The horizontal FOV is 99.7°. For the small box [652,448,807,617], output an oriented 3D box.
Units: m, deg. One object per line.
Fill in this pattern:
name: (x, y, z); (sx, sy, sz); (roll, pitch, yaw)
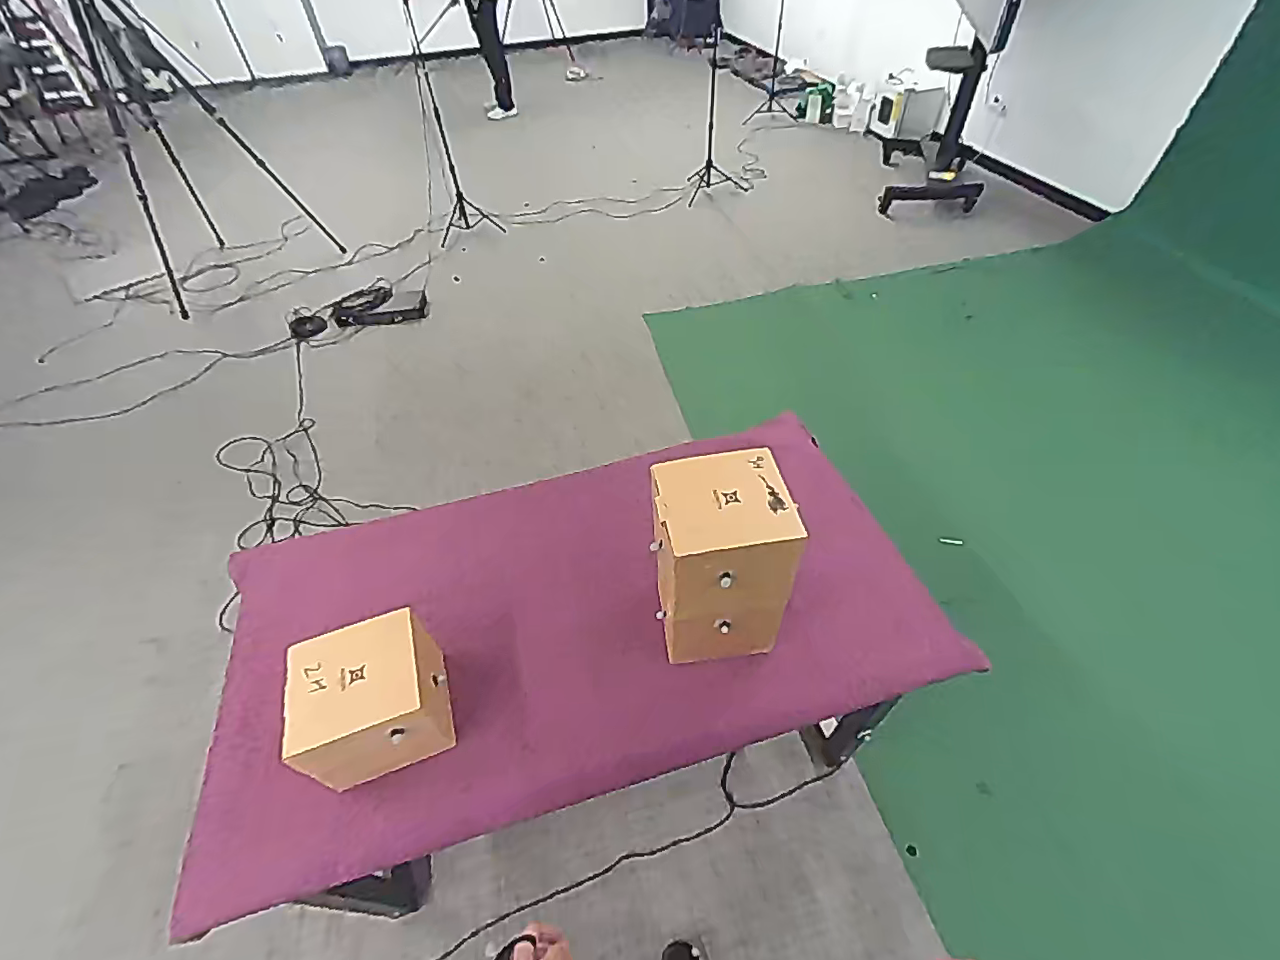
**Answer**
small box: (0.119, 0.080, 0.778); (0.179, 0.176, 0.168); (-9, 49, -3)

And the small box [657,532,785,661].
small box: (0.126, 0.188, 0.901); (0.179, 0.176, 0.168); (-5, 48, -2)

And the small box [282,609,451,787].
small box: (-0.393, 0.325, 0.805); (0.179, 0.176, 0.168); (-18, 50, -12)
